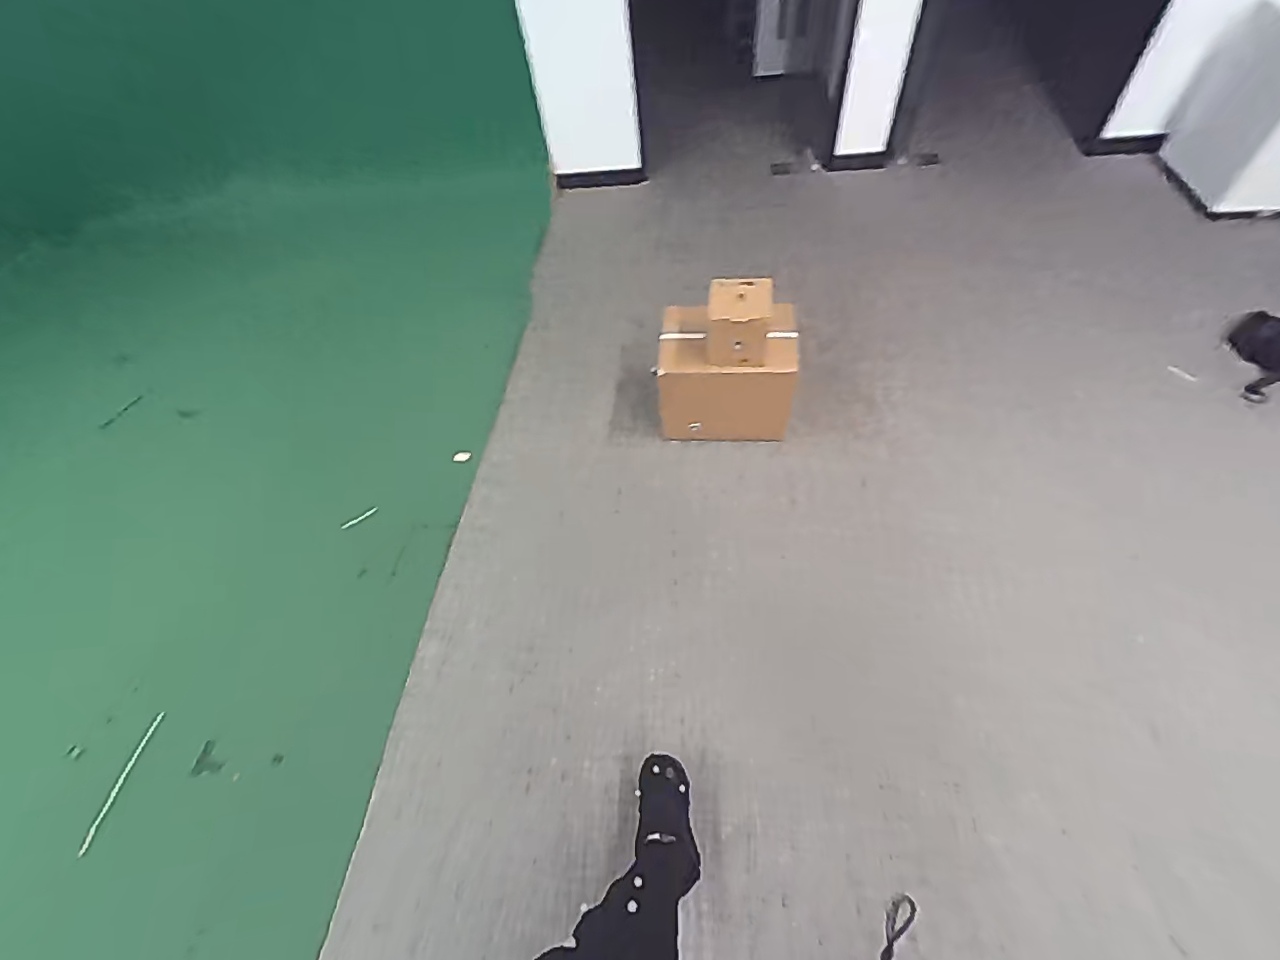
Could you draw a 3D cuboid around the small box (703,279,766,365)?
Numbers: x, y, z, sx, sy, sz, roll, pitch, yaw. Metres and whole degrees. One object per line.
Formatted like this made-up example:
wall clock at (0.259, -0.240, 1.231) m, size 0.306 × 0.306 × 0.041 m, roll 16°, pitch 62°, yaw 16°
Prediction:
small box at (0.268, -0.445, 1.534) m, size 0.168 × 0.176 × 0.179 m, roll 3°, pitch 57°, yaw 9°
